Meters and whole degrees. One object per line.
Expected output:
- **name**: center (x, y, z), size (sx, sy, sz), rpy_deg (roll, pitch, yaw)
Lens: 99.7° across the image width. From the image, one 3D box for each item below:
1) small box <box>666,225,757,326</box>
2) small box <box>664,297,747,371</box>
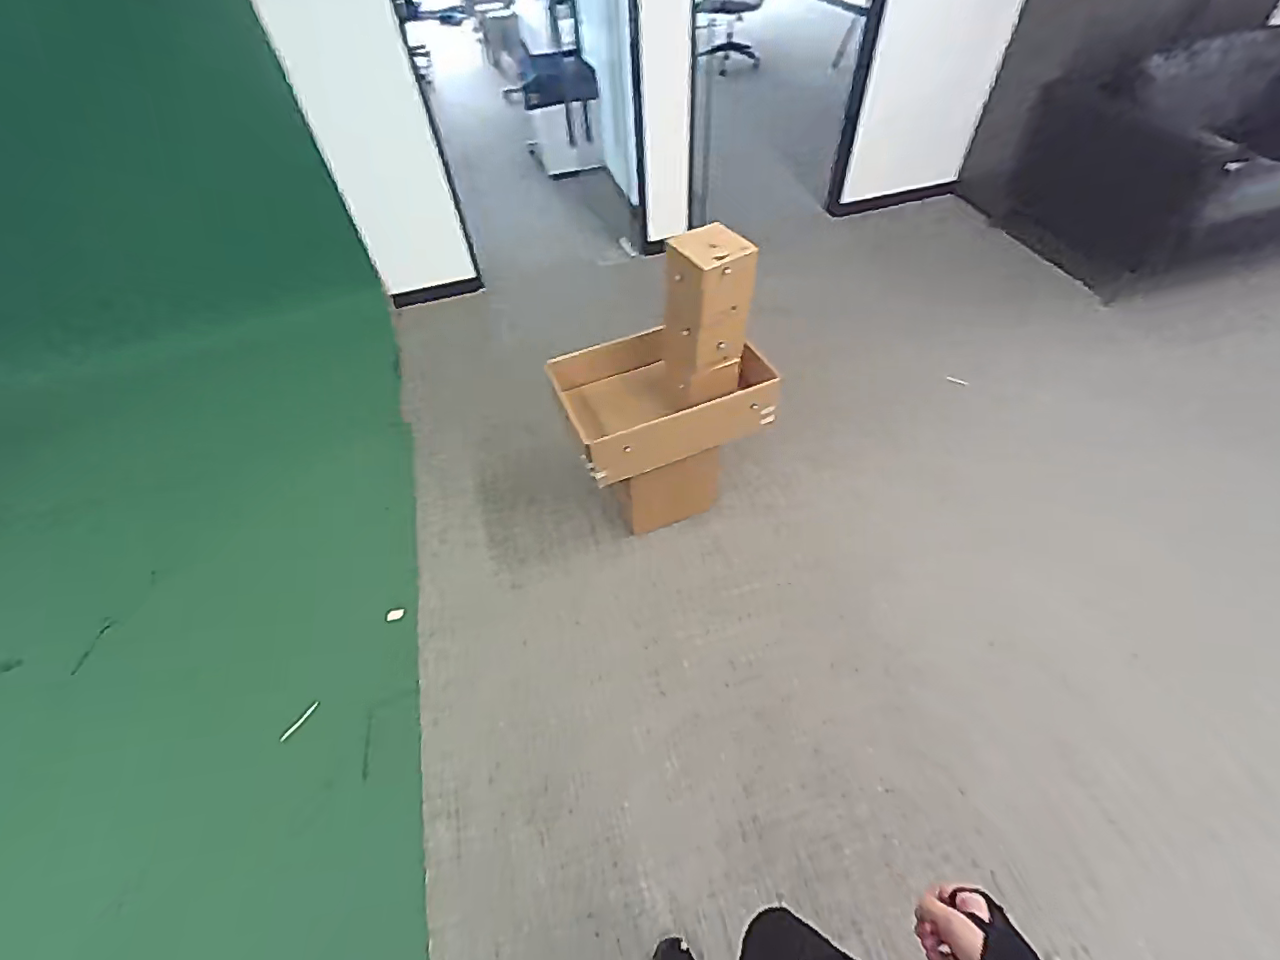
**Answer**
- **small box**: center (0.180, -0.535, 1.418), size (0.168, 0.176, 0.179), rpy_deg (-28, 55, -18)
- **small box**: center (0.182, -0.433, 1.547), size (0.168, 0.176, 0.179), rpy_deg (-25, 54, -18)
